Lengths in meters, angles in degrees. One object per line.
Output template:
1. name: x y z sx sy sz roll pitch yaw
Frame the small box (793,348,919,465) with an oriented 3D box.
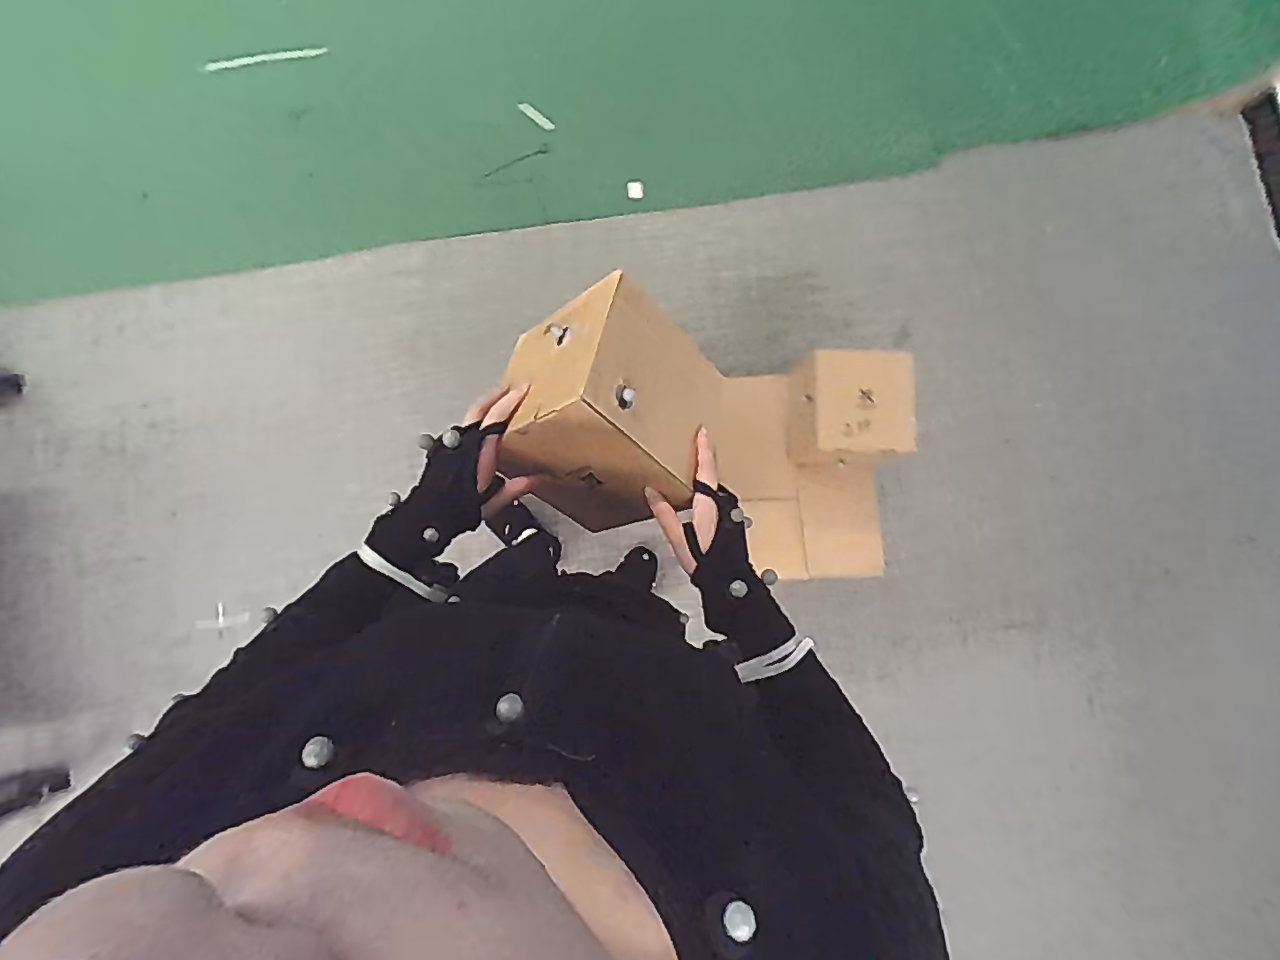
1. small box: 0.383 -0.126 0.983 0.168 0.176 0.179 2 85 1

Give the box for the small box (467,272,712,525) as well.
1. small box: -0.041 -0.076 0.568 0.179 0.168 0.176 36 51 -33
